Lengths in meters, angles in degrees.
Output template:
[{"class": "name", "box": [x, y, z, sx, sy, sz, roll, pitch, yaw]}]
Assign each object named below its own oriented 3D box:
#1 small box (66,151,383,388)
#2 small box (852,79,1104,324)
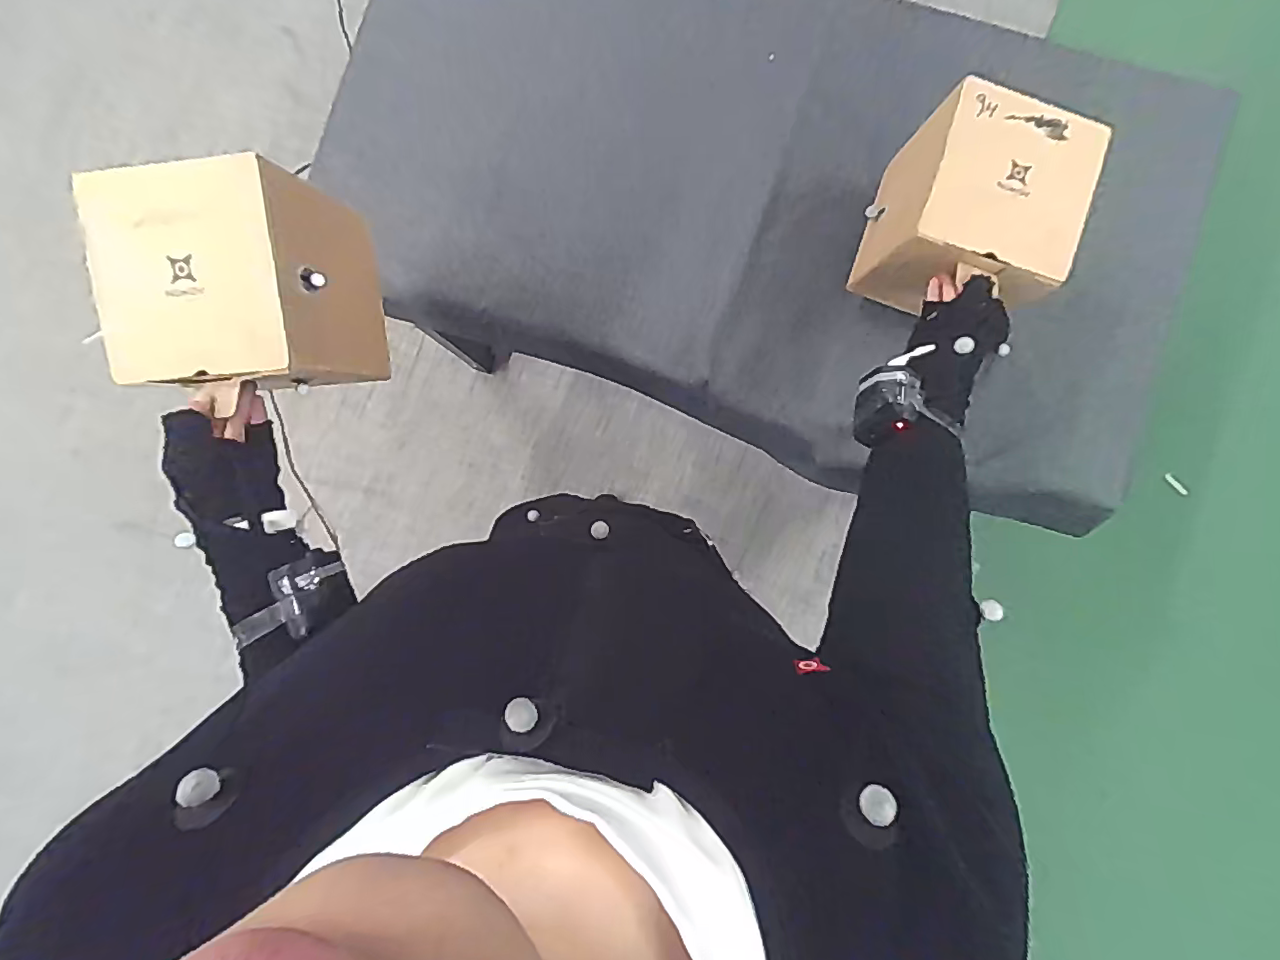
[{"class": "small box", "box": [-0.374, -0.183, 0.524, 0.168, 0.176, 0.179, -4, 98, 4]}, {"class": "small box", "box": [0.376, -0.305, 0.637, 0.168, 0.176, 0.179, 19, 89, -3]}]
